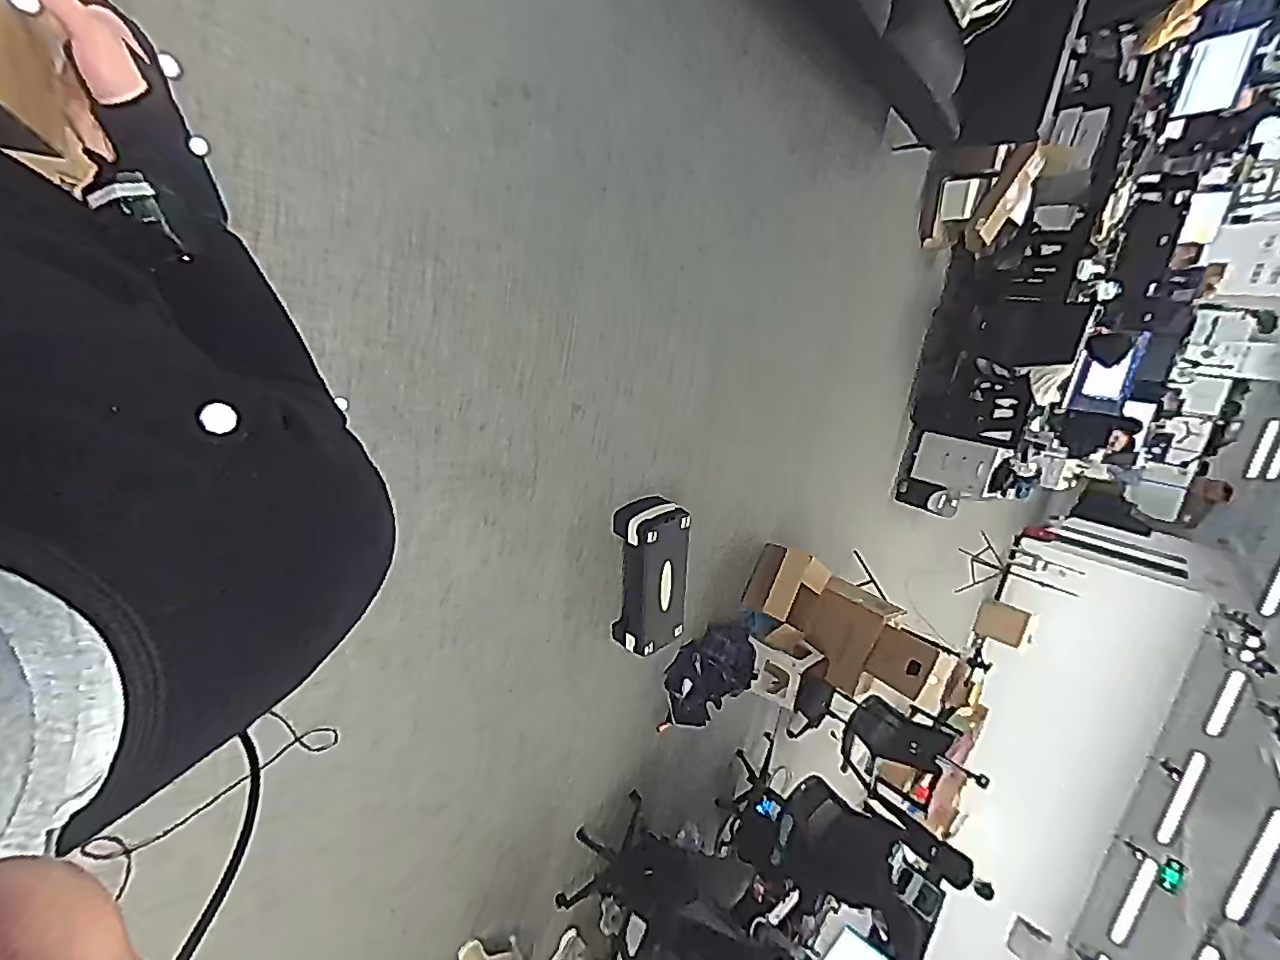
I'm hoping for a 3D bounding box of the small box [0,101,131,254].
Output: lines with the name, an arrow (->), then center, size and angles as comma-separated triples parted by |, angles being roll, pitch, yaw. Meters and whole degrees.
small box -> -1.050, -0.529, 0.970 | 0.168, 0.176, 0.179 | 15, 96, -47
